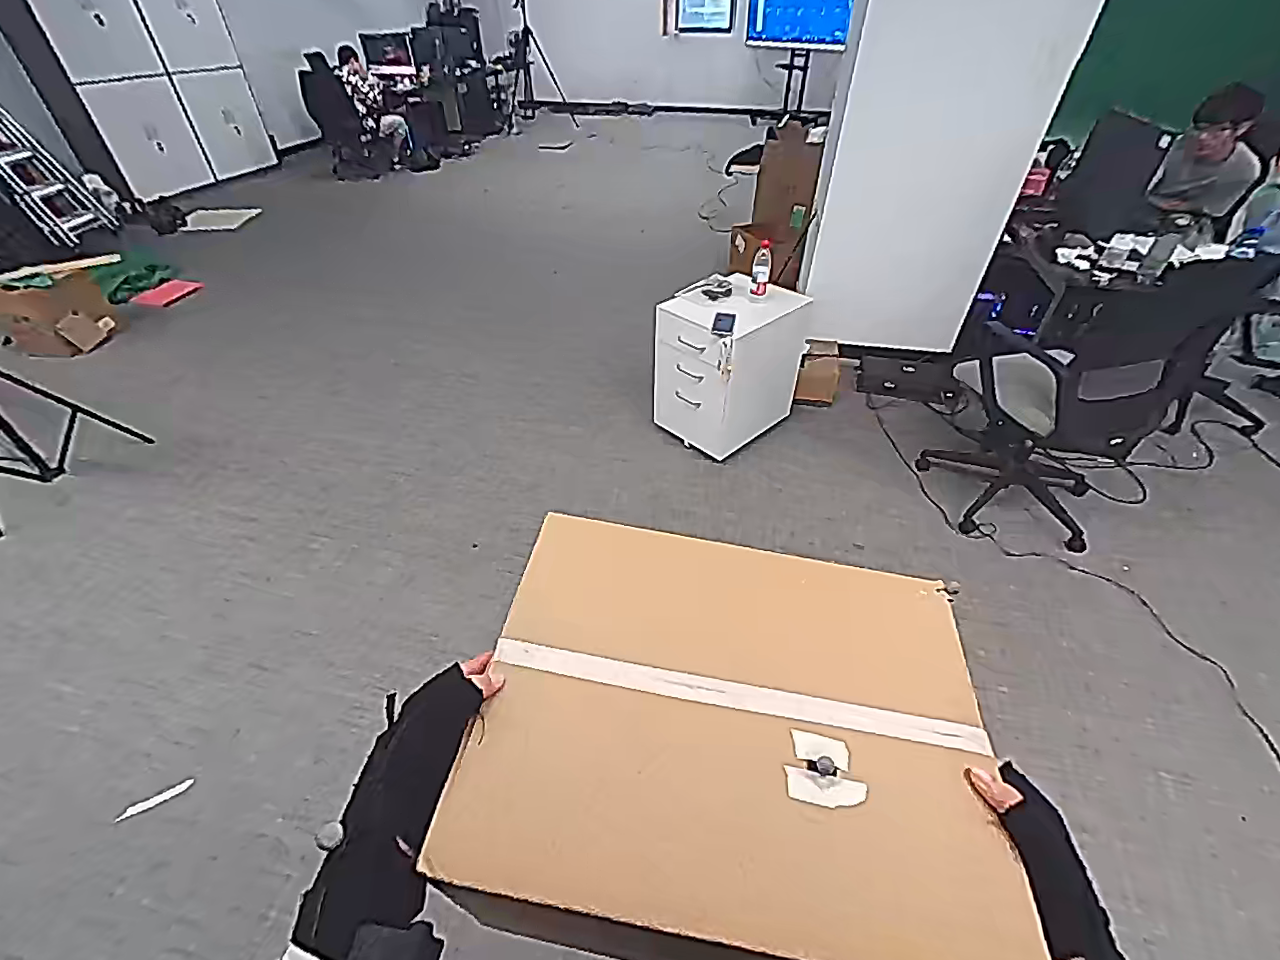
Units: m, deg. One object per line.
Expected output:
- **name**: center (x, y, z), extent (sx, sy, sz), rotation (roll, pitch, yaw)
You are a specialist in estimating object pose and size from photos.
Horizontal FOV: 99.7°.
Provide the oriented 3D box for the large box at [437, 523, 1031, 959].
- **large box**: center (0.065, 0.285, 0.560), extent (0.408, 0.320, 0.320), rotation (10, 47, 3)
